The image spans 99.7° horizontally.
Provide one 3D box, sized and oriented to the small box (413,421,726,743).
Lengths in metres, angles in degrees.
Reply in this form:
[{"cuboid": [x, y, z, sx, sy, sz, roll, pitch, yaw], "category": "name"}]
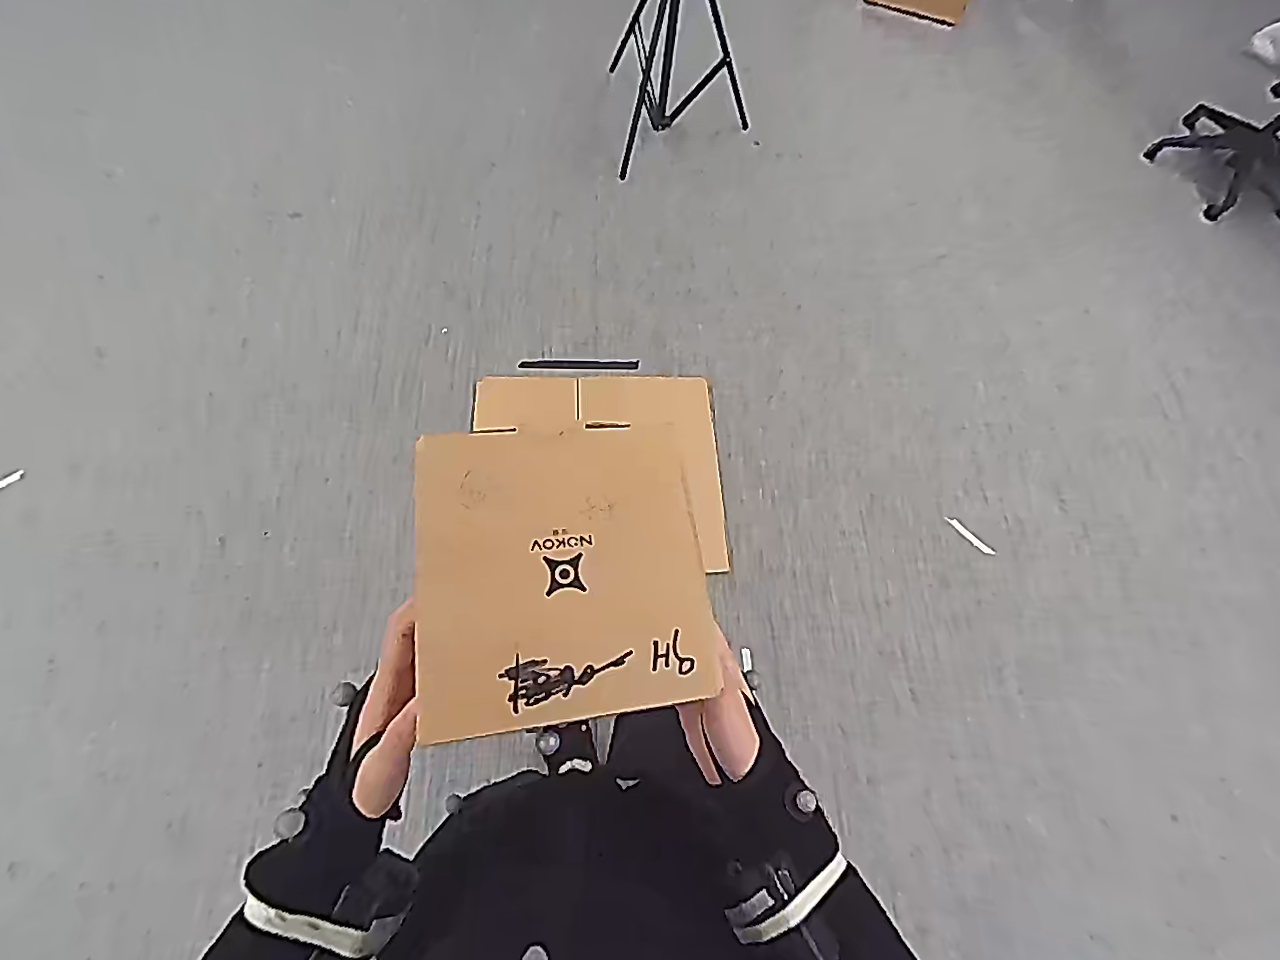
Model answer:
[{"cuboid": [-0.057, 0.077, 0.385, 0.168, 0.176, 0.179, -5, 68, -11], "category": "small box"}]
